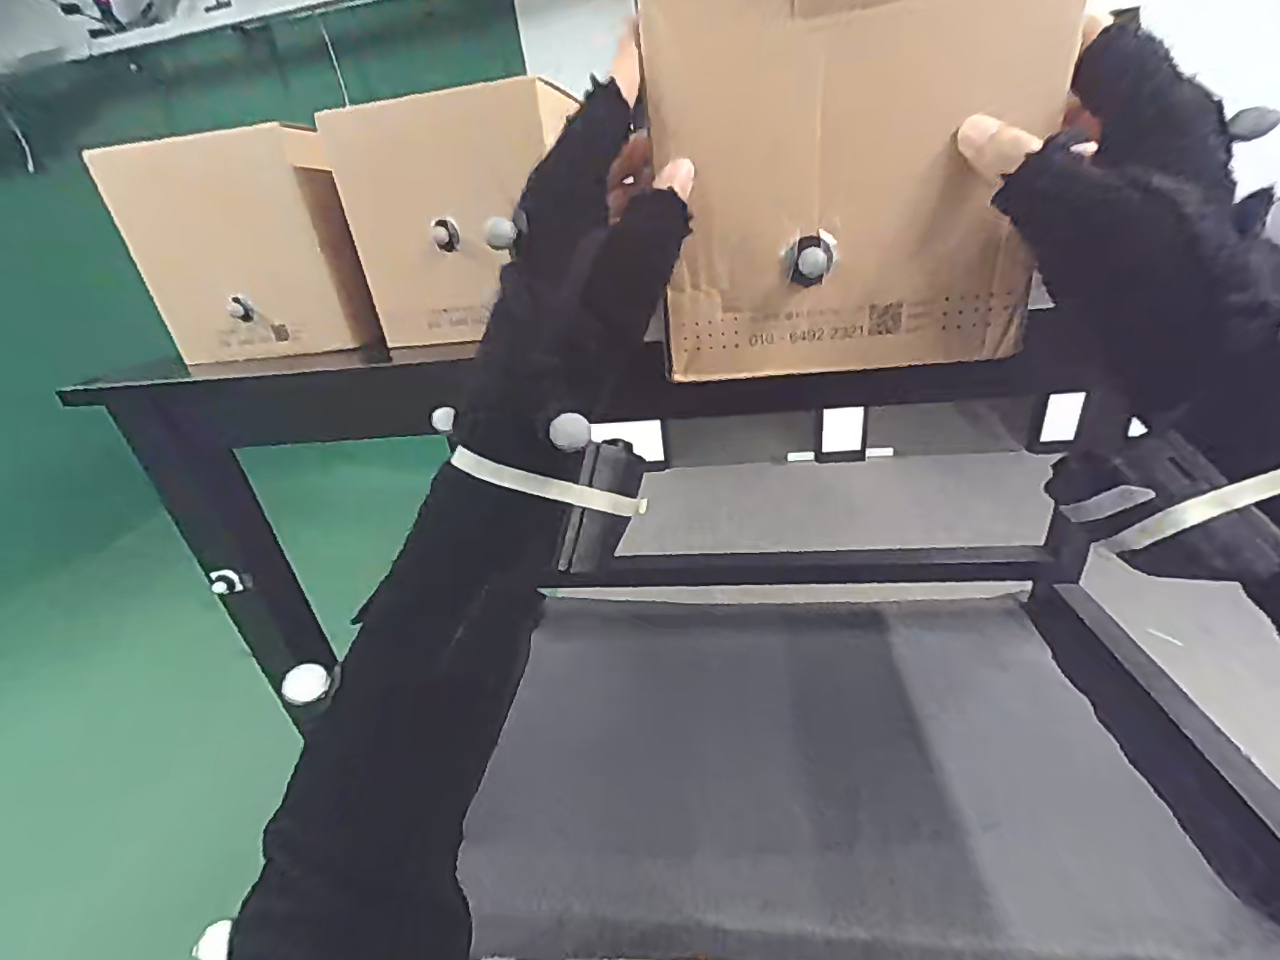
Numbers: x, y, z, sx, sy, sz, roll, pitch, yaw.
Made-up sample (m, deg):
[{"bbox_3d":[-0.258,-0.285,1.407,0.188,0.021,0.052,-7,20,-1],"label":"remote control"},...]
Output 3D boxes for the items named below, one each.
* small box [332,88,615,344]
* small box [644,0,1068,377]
[{"bbox_3d":[-0.123,-0.222,0.485,0.168,0.176,0.179,-2,27,10],"label":"small box"},{"bbox_3d":[0.099,-0.167,0.320,0.168,0.176,0.179,-3,28,8],"label":"small box"}]
